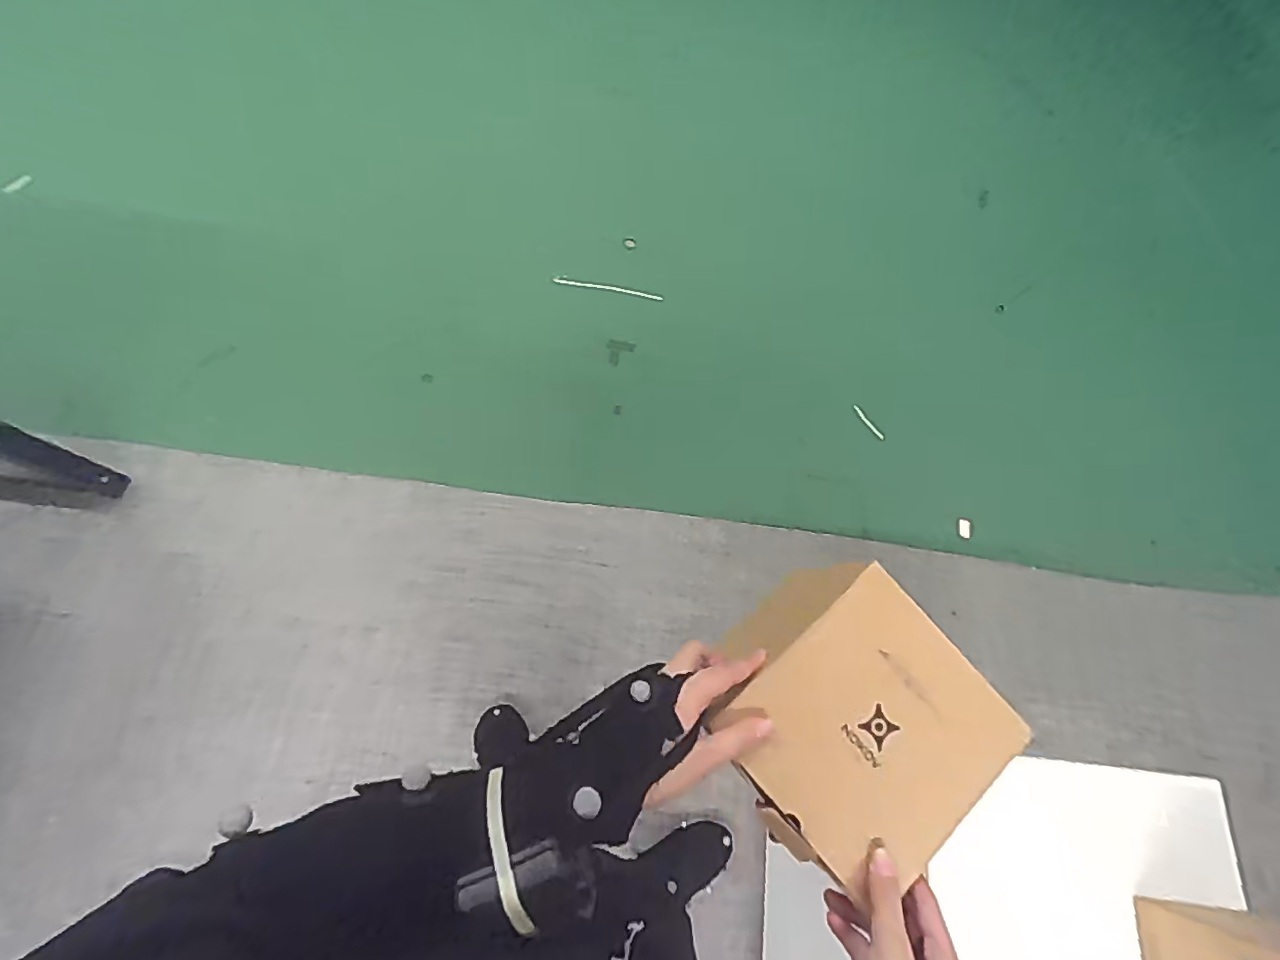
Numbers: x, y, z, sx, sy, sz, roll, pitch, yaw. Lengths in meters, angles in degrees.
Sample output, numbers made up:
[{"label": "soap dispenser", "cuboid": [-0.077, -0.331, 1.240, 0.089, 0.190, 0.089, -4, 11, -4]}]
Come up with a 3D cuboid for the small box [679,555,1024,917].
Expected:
[{"label": "small box", "cuboid": [0.149, 0.186, 0.449, 0.179, 0.176, 0.168, -41, 86, -14]}]
